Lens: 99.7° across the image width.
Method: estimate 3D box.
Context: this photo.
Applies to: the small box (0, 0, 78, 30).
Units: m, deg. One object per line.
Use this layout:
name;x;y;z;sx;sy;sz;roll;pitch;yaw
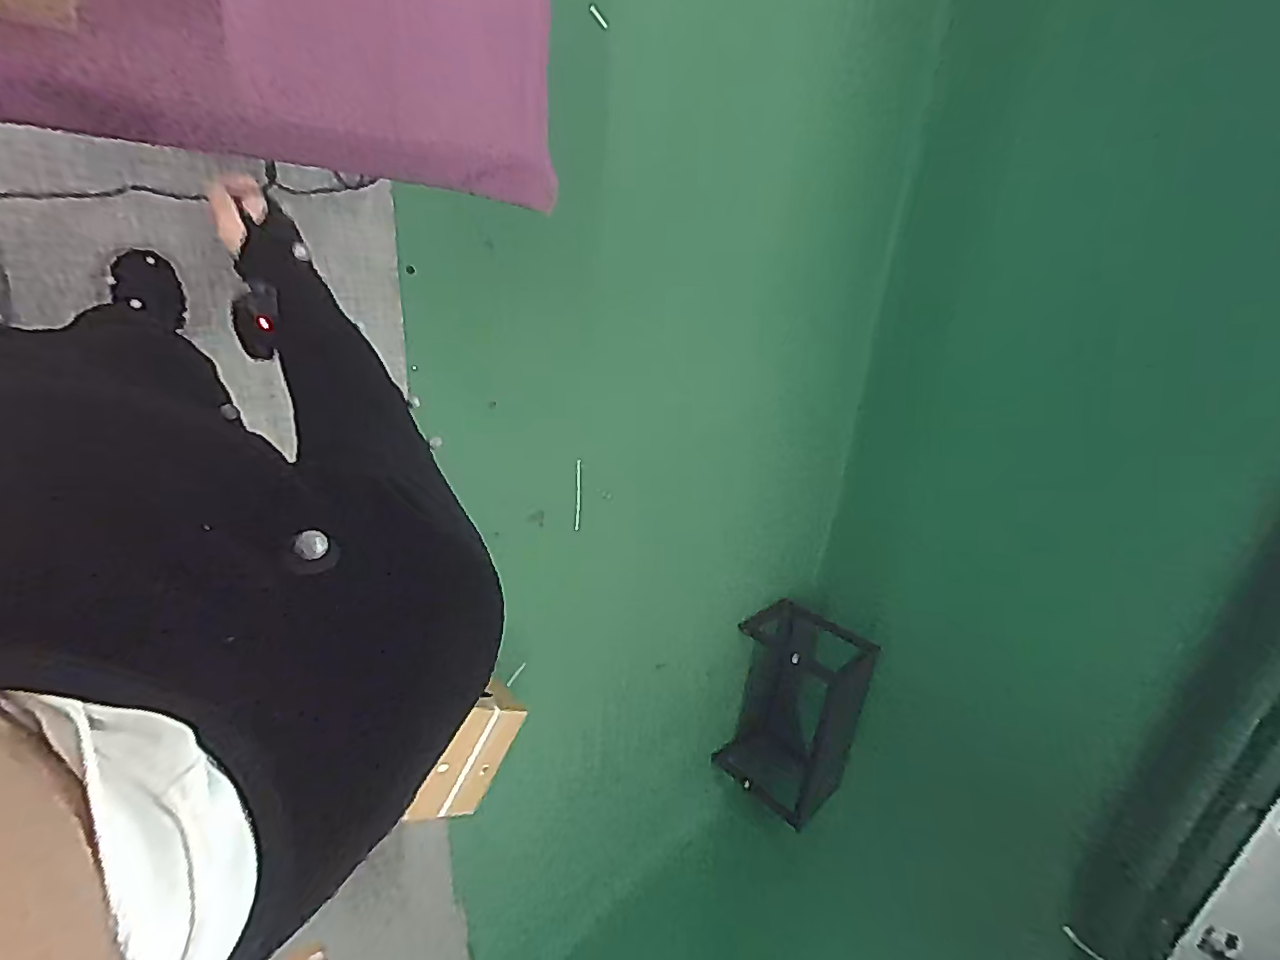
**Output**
small box;-0.577;-0.498;0.418;0.168;0.176;0.179;-16;119;-41
